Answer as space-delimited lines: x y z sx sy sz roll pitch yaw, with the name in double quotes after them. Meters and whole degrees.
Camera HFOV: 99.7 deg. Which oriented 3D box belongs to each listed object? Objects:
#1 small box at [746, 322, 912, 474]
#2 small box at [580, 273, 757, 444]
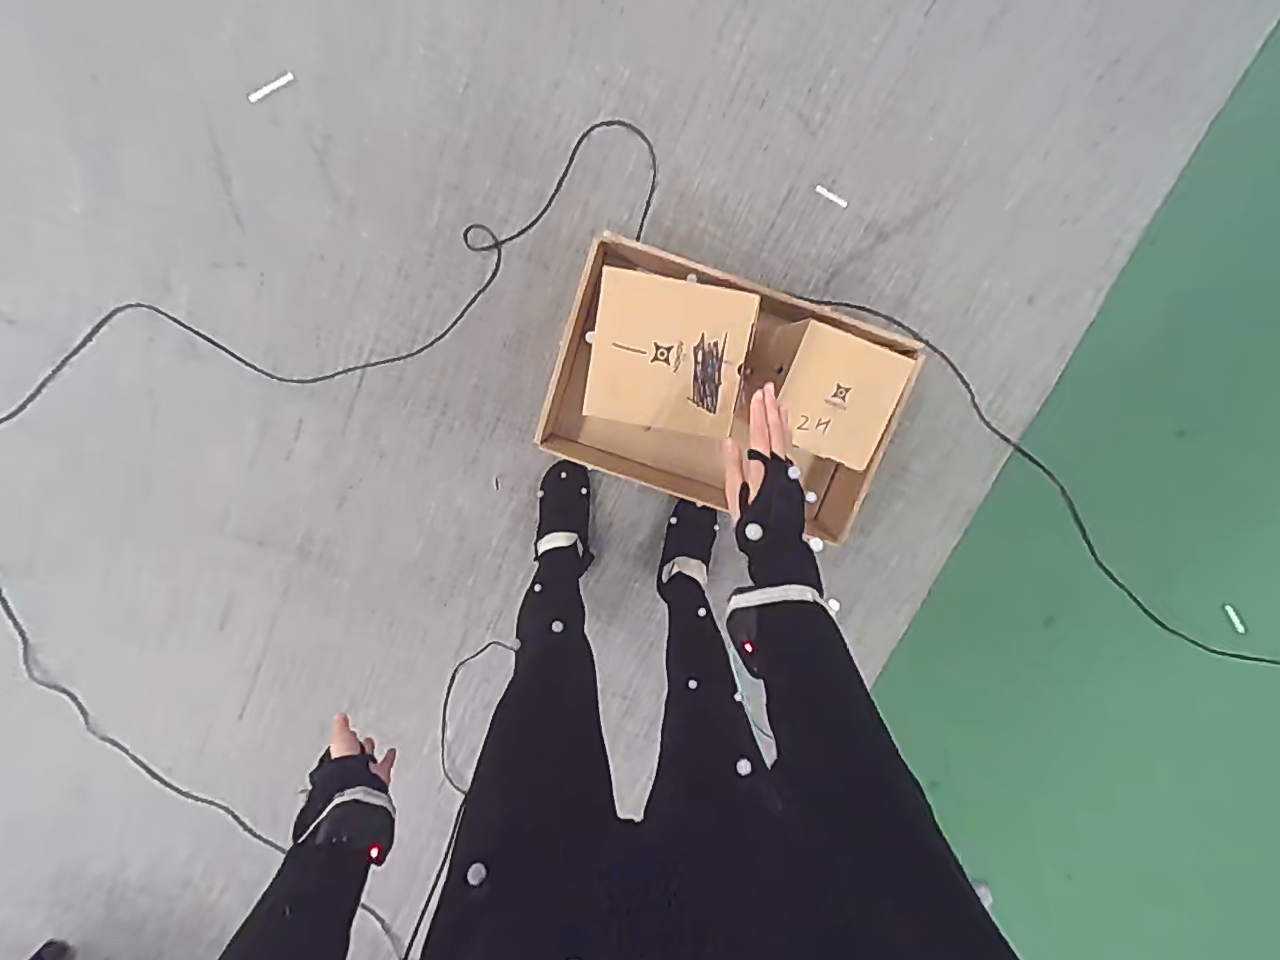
0.281 -0.132 0.854 0.168 0.176 0.179 21 102 -4 "small box"
0.029 -0.153 0.684 0.179 0.176 0.168 10 103 -3 "small box"
